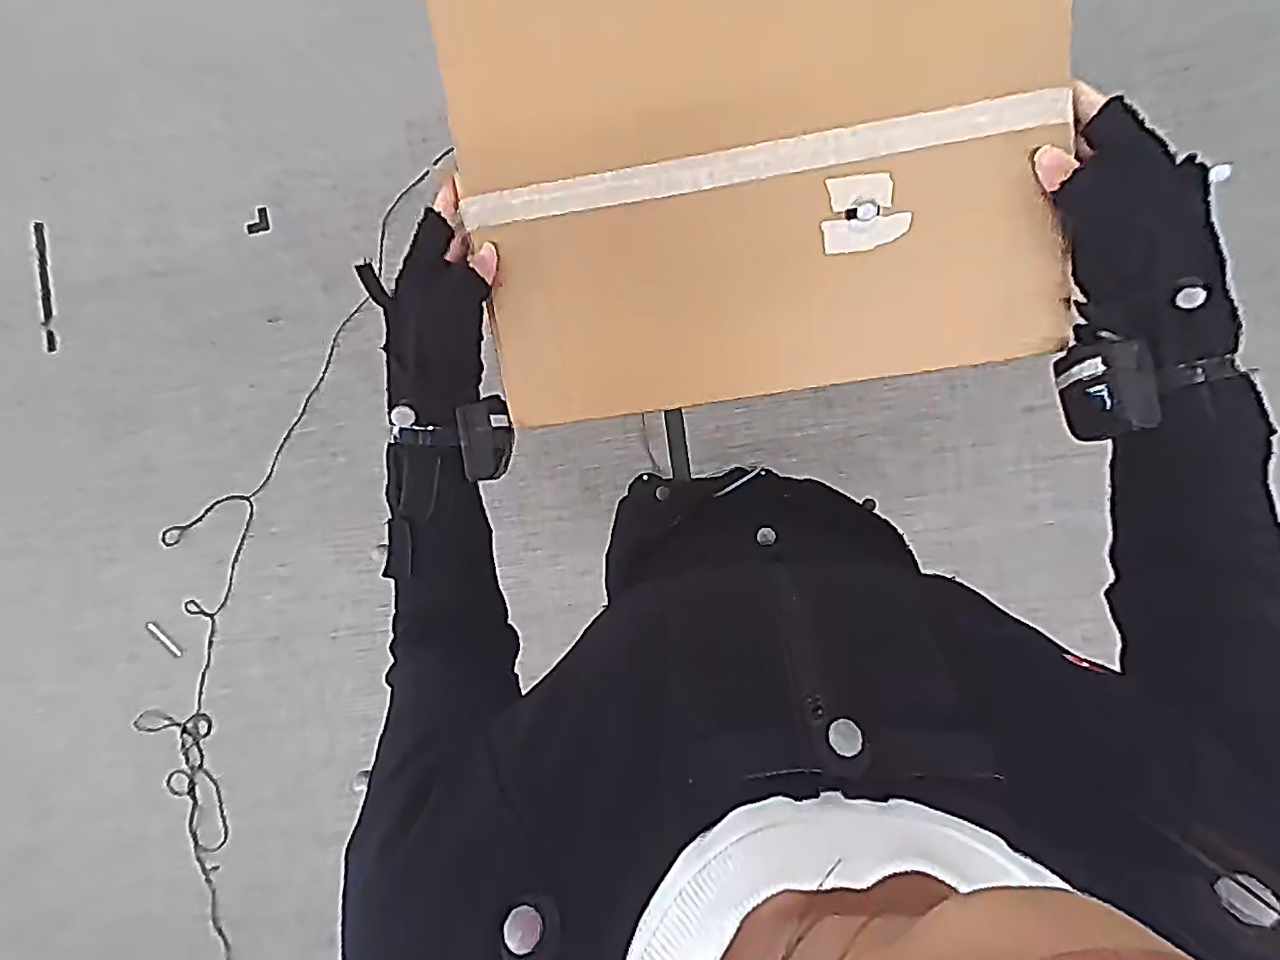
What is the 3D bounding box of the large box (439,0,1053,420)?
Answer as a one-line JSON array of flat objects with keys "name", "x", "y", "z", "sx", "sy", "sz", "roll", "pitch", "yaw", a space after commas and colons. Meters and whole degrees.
[{"name": "large box", "x": 0.085, "y": -0.254, "z": 0.524, "sx": 0.408, "sy": 0.320, "sz": 0.320, "roll": -8, "pitch": 103, "yaw": 4}]
